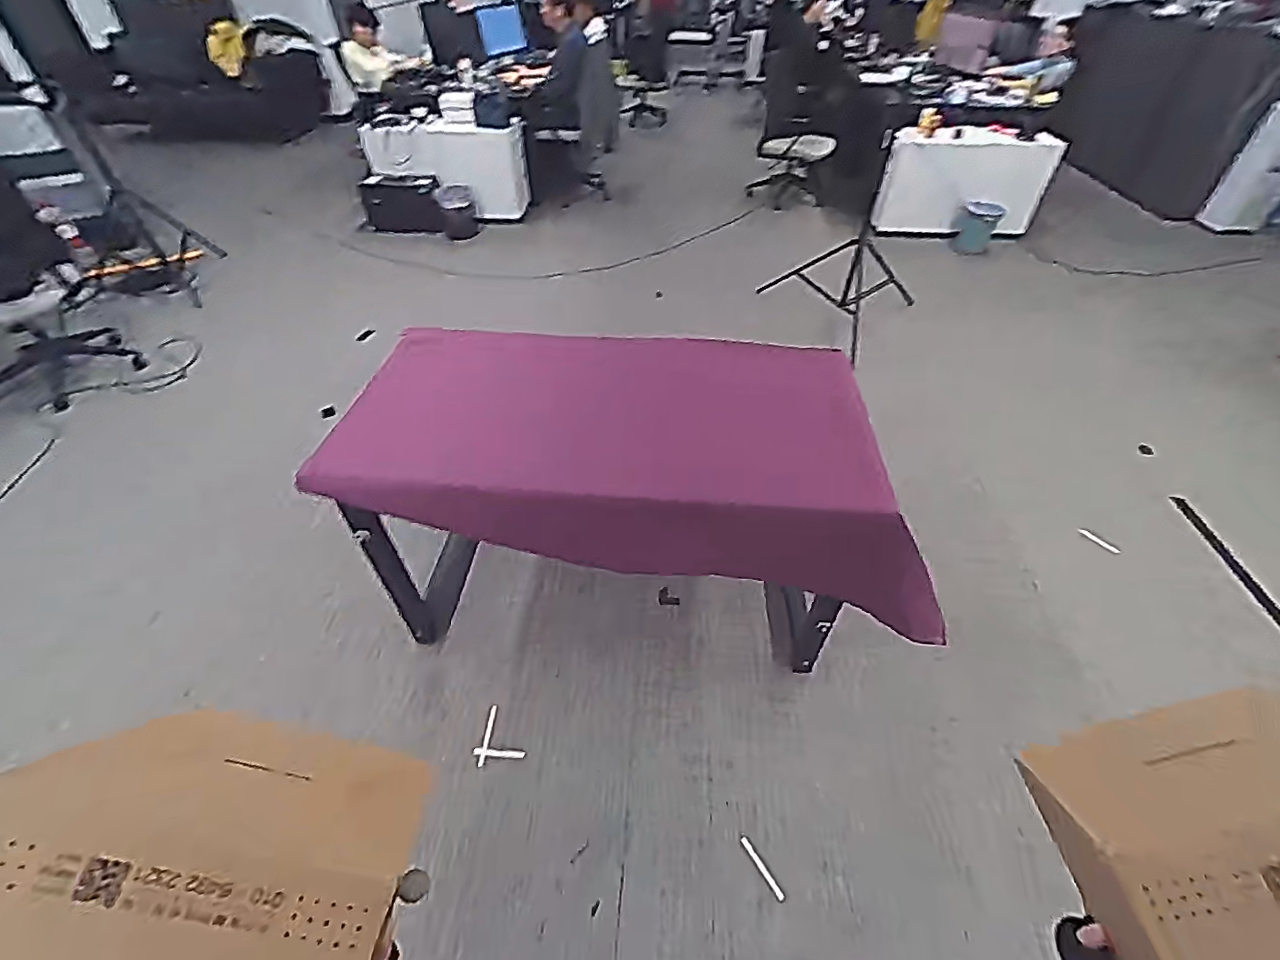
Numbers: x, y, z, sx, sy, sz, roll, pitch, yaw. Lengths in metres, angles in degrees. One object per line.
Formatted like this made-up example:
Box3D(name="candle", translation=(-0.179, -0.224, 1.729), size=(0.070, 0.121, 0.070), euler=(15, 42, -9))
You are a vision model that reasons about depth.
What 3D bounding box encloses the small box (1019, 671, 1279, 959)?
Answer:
Box3D(name="small box", translation=(0.347, 0.220, 0.290), size=(0.168, 0.179, 0.176), euler=(-24, 74, 15))
